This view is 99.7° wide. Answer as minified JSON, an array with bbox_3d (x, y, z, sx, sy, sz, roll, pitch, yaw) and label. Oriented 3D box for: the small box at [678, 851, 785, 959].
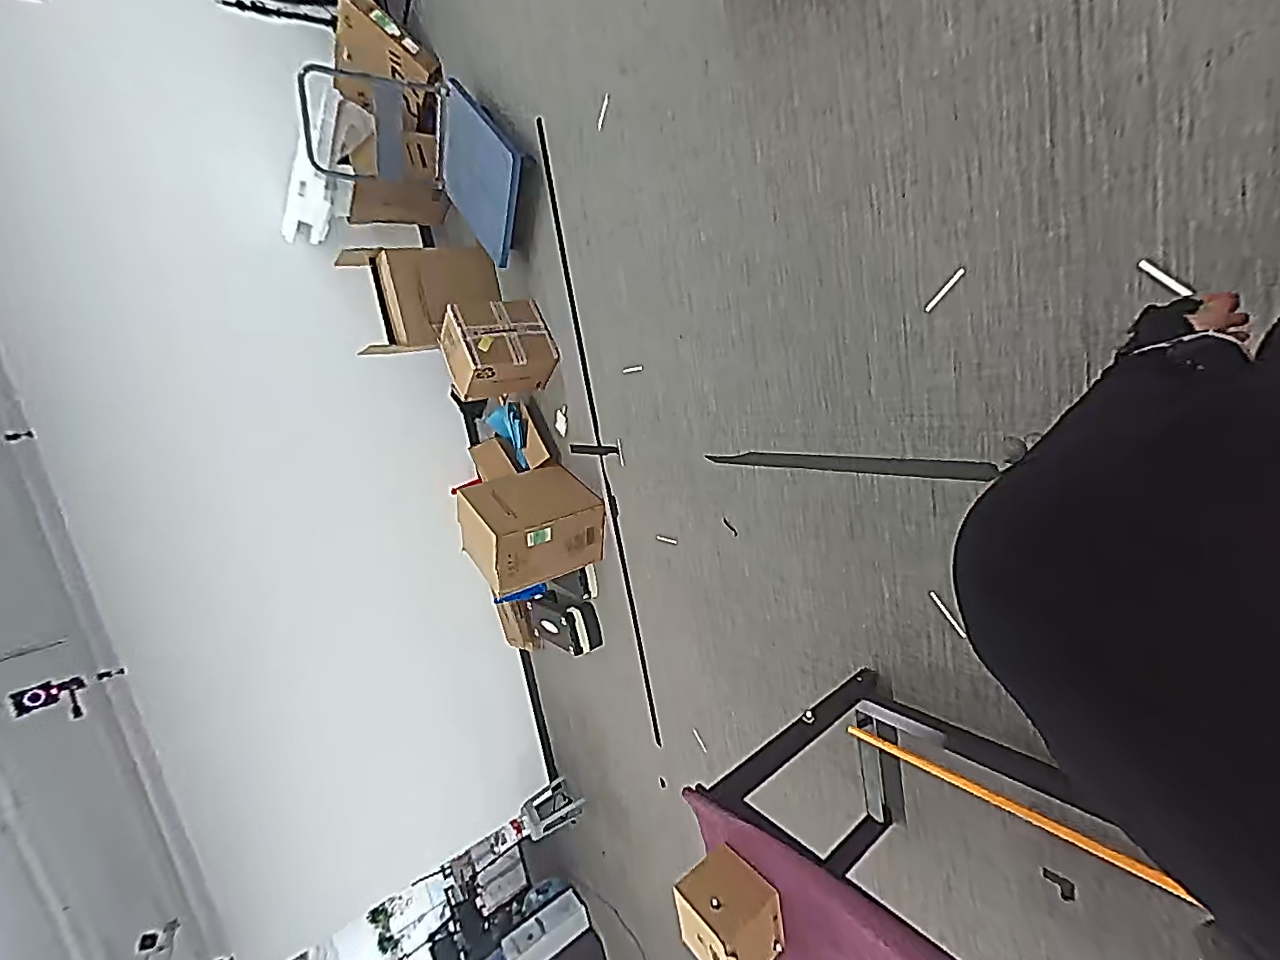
[{"bbox_3d":[0.214,1.005,1.234,0.179,0.176,0.168,10,114,55],"label":"small box"}]
